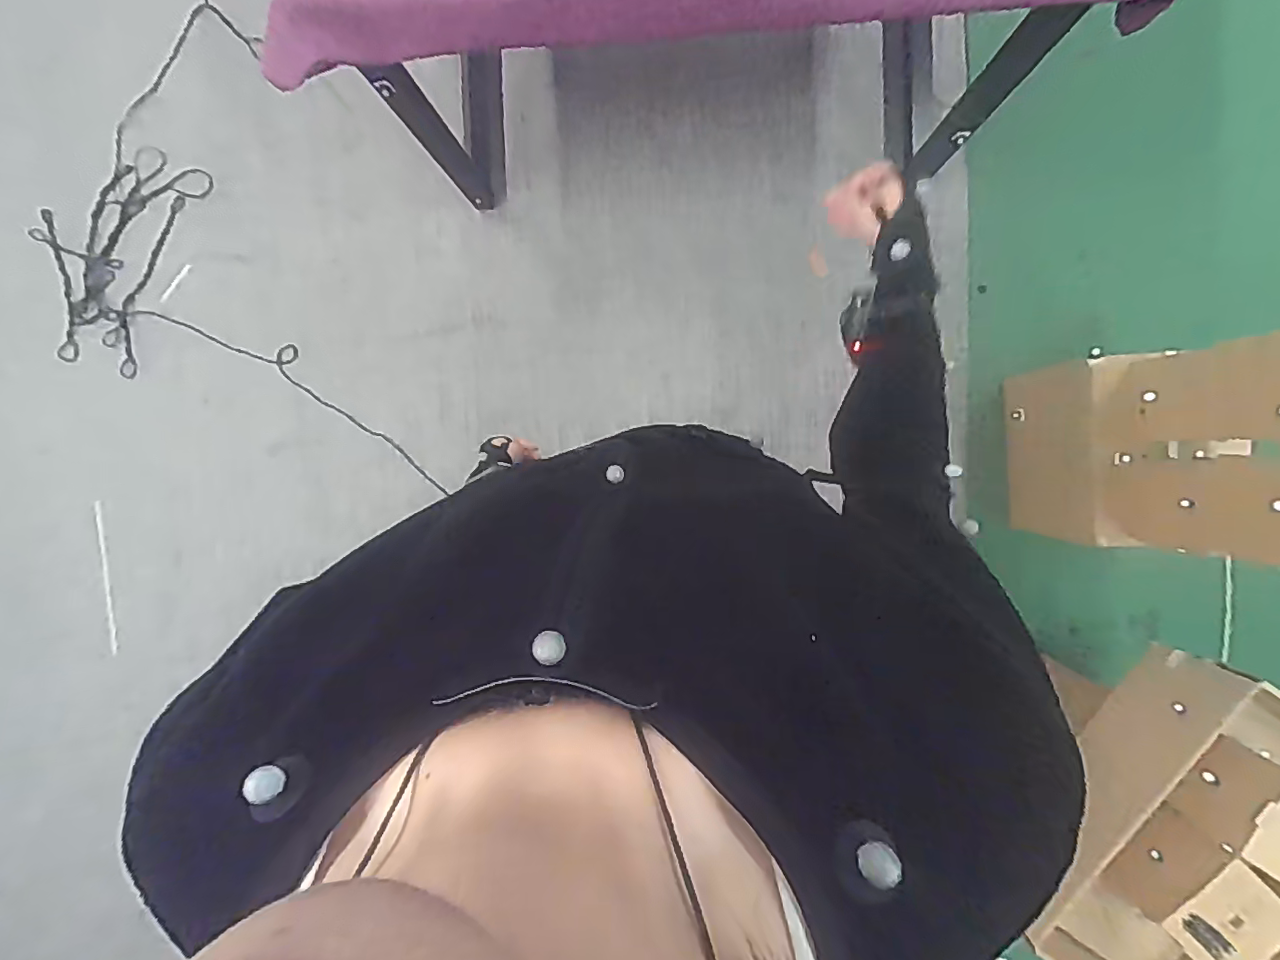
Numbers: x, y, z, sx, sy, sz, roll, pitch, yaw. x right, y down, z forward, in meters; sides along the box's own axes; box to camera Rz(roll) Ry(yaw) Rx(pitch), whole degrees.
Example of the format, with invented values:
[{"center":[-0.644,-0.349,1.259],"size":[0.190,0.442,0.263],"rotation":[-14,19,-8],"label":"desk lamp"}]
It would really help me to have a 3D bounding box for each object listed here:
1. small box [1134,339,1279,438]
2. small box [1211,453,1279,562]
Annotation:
[{"center":[1.098,-0.169,1.024],"size":[0.179,0.176,0.168],"rotation":[-6,93,5],"label":"small box"},{"center":[1.092,0.049,0.874],"size":[0.168,0.176,0.179],"rotation":[3,92,5],"label":"small box"}]
